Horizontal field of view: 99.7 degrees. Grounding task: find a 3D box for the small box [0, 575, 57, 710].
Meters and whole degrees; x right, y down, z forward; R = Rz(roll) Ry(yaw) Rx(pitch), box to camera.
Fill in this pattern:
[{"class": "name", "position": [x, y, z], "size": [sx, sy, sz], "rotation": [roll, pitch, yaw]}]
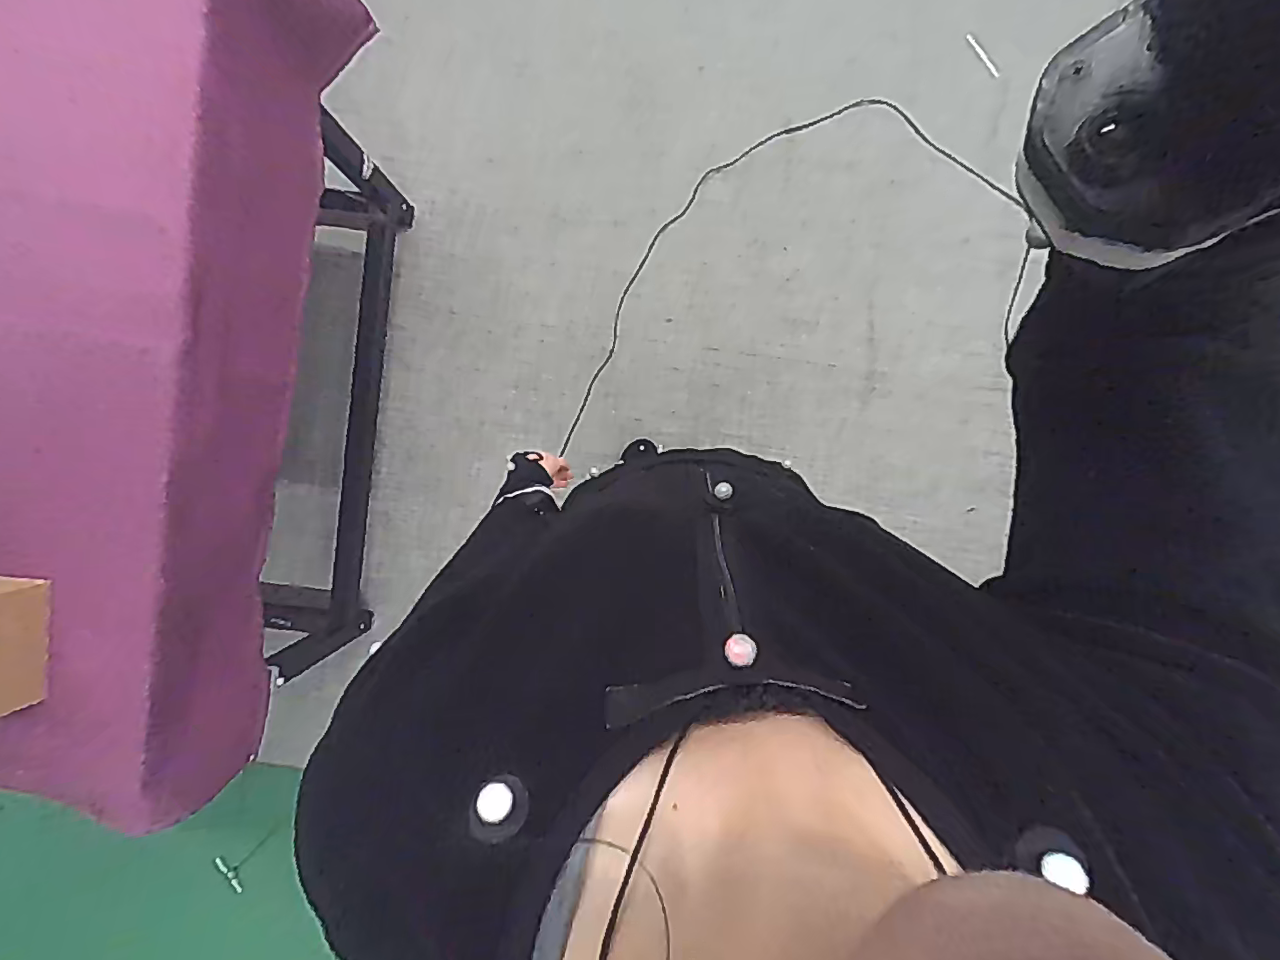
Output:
[{"class": "small box", "position": [-0.939, 0.221, 0.715], "size": [0.168, 0.176, 0.179], "rotation": [5, 93, 0]}]
